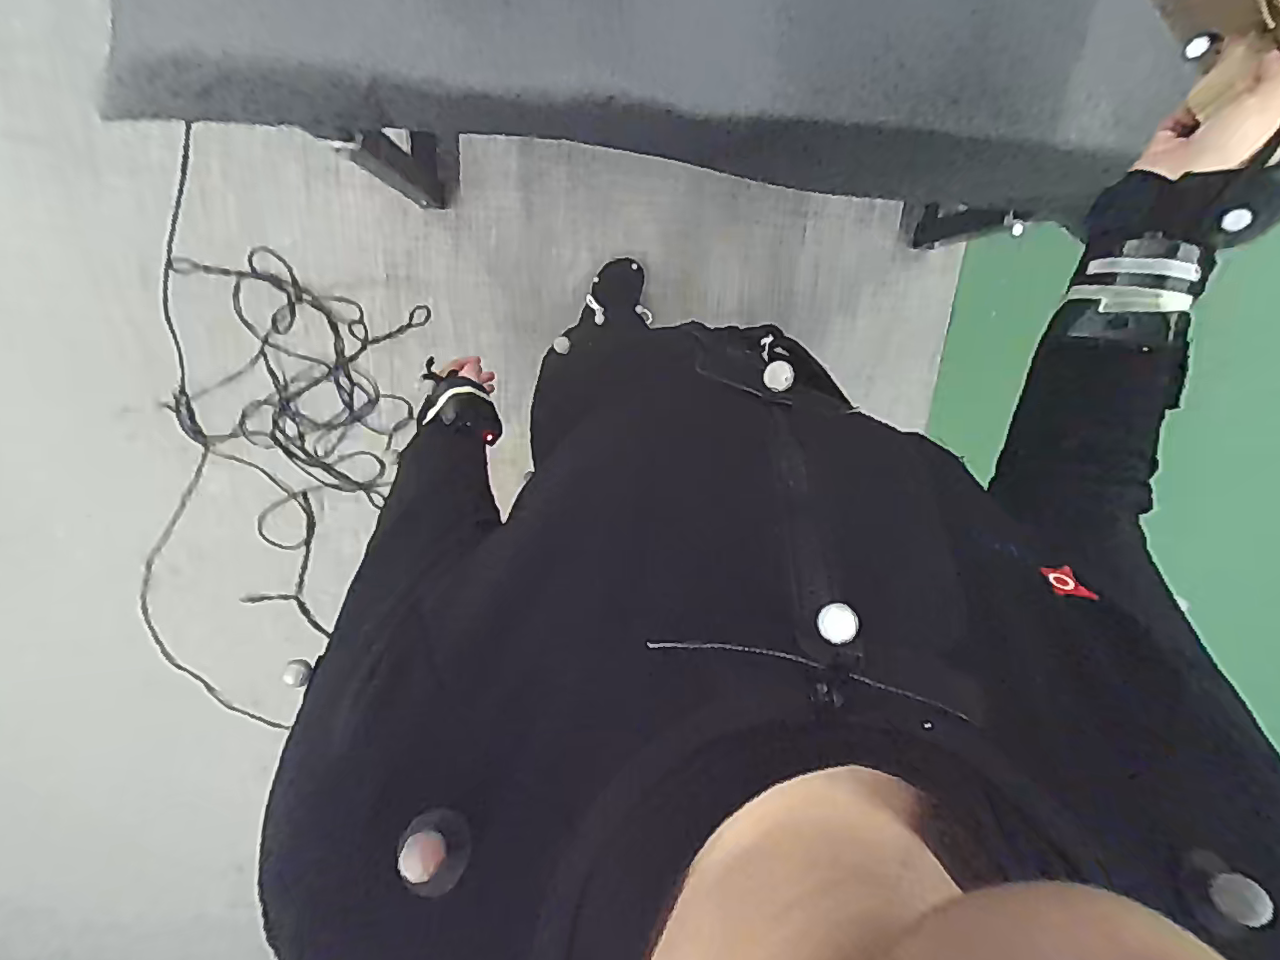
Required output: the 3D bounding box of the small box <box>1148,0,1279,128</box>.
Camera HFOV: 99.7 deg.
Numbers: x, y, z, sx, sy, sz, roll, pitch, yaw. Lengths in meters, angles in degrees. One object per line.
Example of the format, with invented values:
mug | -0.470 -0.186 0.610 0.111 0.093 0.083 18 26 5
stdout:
small box | 0.460 -0.345 0.320 0.168 0.176 0.179 41 132 -10
